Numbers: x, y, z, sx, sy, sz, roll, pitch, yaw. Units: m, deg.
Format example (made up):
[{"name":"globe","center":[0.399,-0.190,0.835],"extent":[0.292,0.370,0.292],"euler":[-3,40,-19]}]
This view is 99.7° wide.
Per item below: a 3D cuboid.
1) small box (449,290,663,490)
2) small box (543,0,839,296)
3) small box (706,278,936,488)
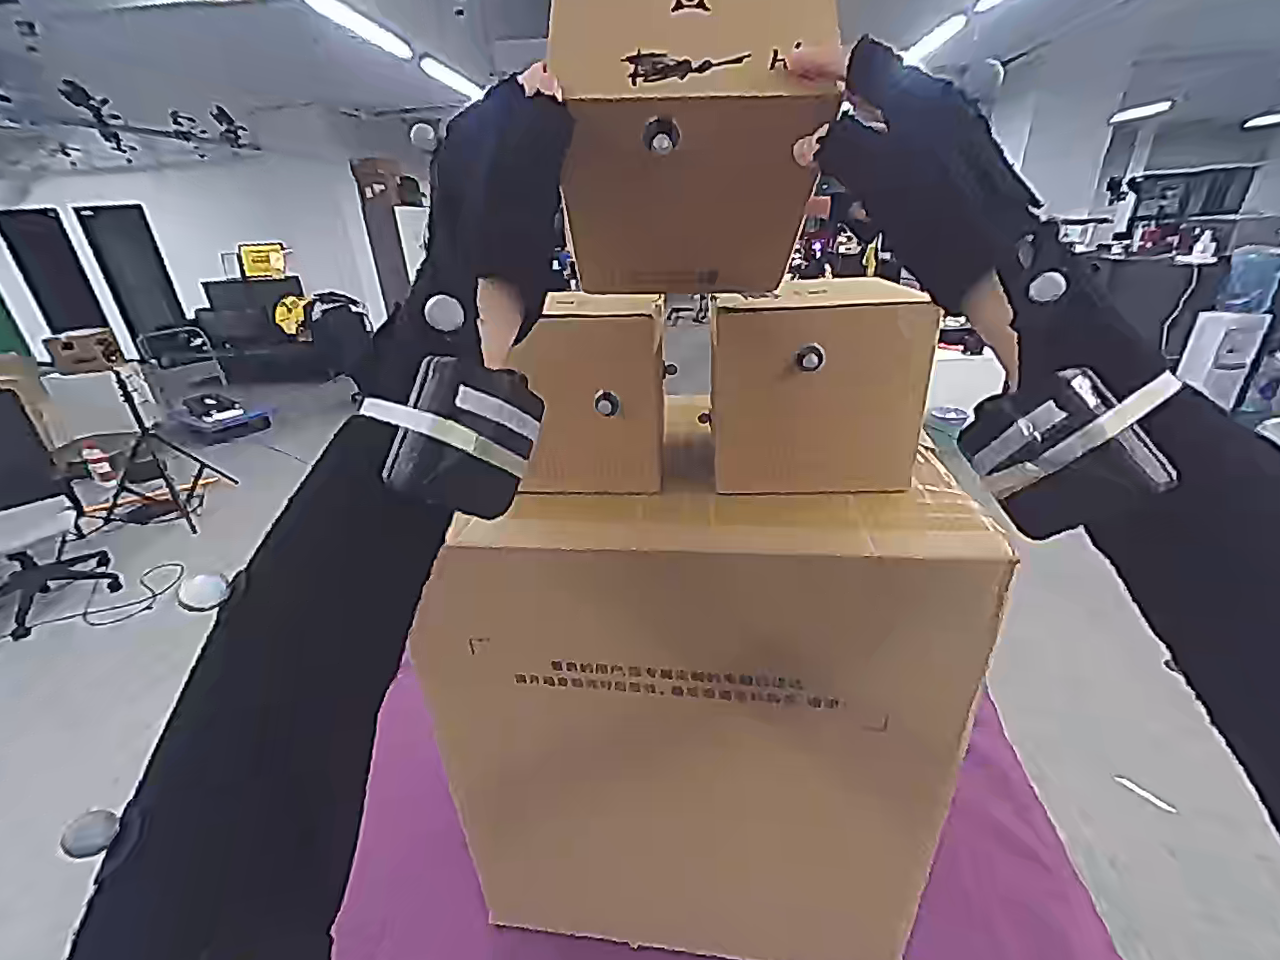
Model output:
[{"name":"small box","center":[-0.066,-0.096,0.553],"extent":[0.179,0.176,0.168],"euler":[0,25,5]},{"name":"small box","center":[0.030,-0.262,0.400],"extent":[0.168,0.176,0.179],"euler":[0,69,2]},{"name":"small box","center":[0.156,-0.099,0.530],"extent":[0.179,0.176,0.168],"euler":[-1,25,5]}]
